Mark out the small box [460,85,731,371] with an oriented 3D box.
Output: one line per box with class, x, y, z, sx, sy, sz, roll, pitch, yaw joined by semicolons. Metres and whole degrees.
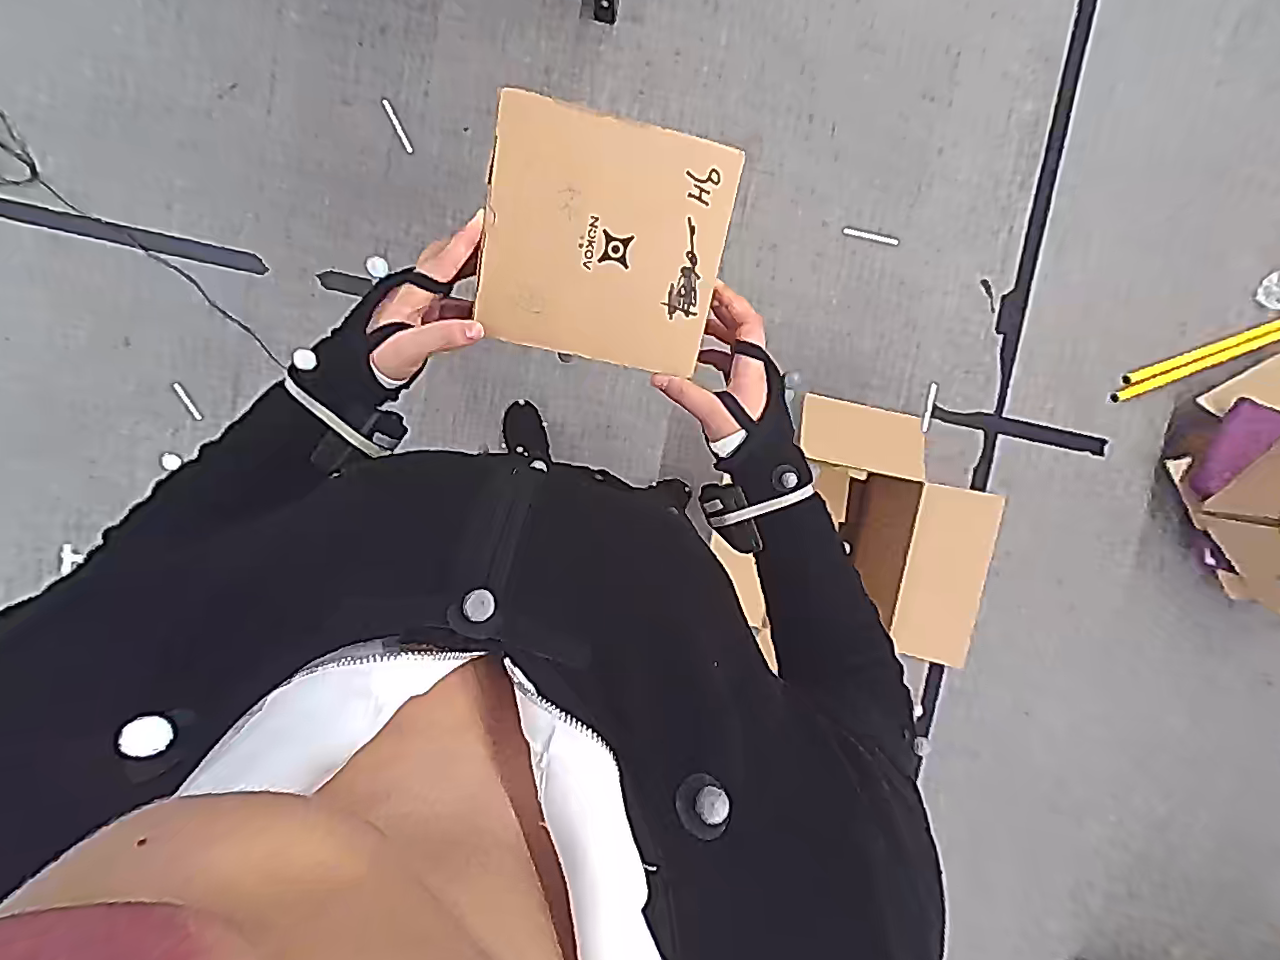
small box;-0.041;-0.200;0.473;0.179;0.176;0.168;10;107;-8
